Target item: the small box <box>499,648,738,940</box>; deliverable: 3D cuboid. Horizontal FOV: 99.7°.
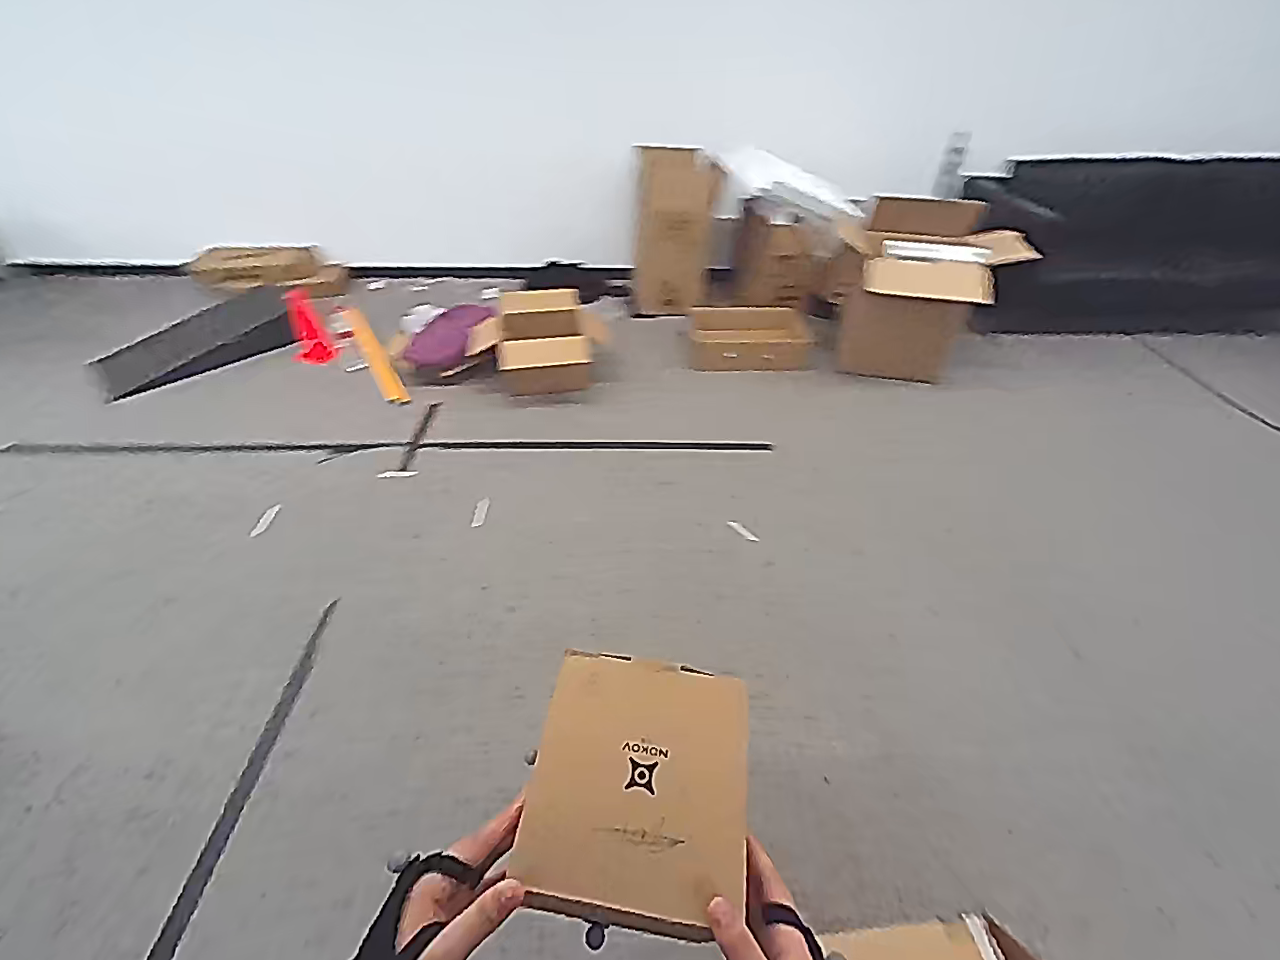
[{"bbox_3d":[-0.014,0.278,0.477,0.168,0.176,0.179,9,48,1],"label":"small box"}]
